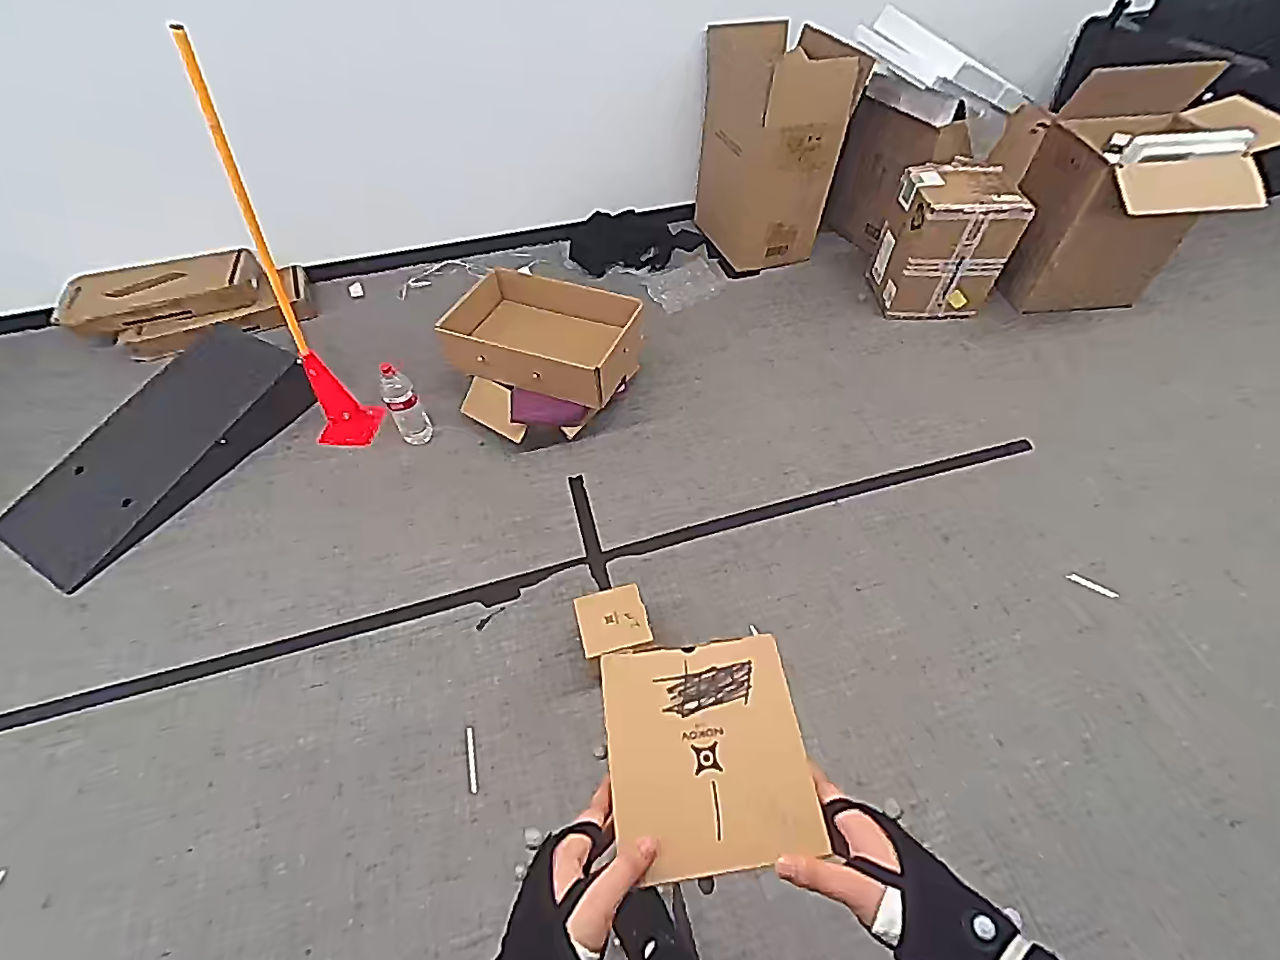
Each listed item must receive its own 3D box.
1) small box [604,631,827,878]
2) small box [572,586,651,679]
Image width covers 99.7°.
[{"bbox_3d":[0.053,0.265,0.522,0.168,0.176,0.179,-5,56,-5],"label":"small box"},{"bbox_3d":[-0.074,0.412,1.446,0.179,0.176,0.168,-12,54,-9],"label":"small box"}]
